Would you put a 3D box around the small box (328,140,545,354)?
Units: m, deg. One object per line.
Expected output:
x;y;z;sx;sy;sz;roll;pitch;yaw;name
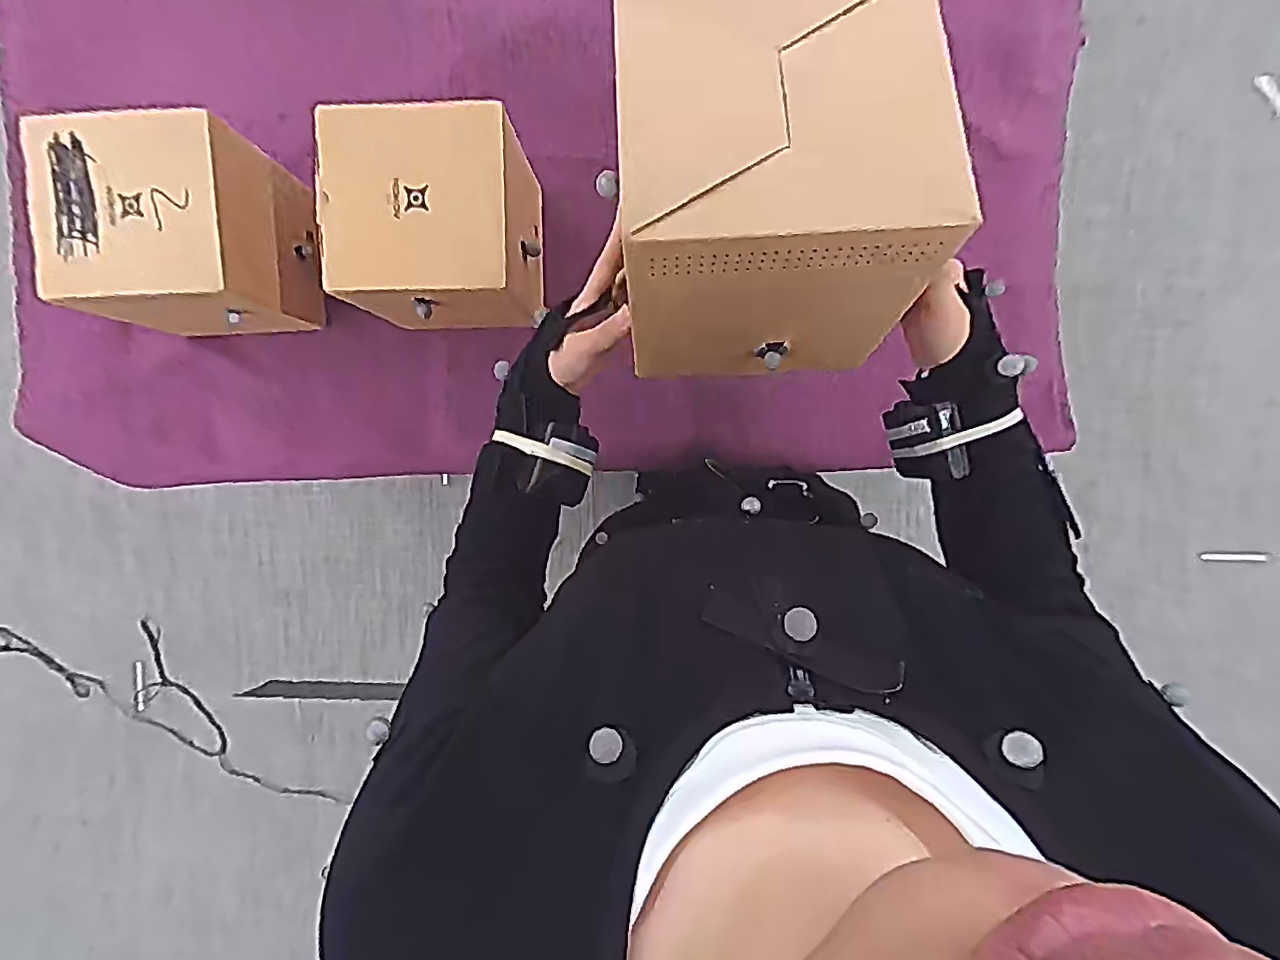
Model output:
-0.203;-0.237;0.587;0.179;0.176;0.168;0;92;3;small box
